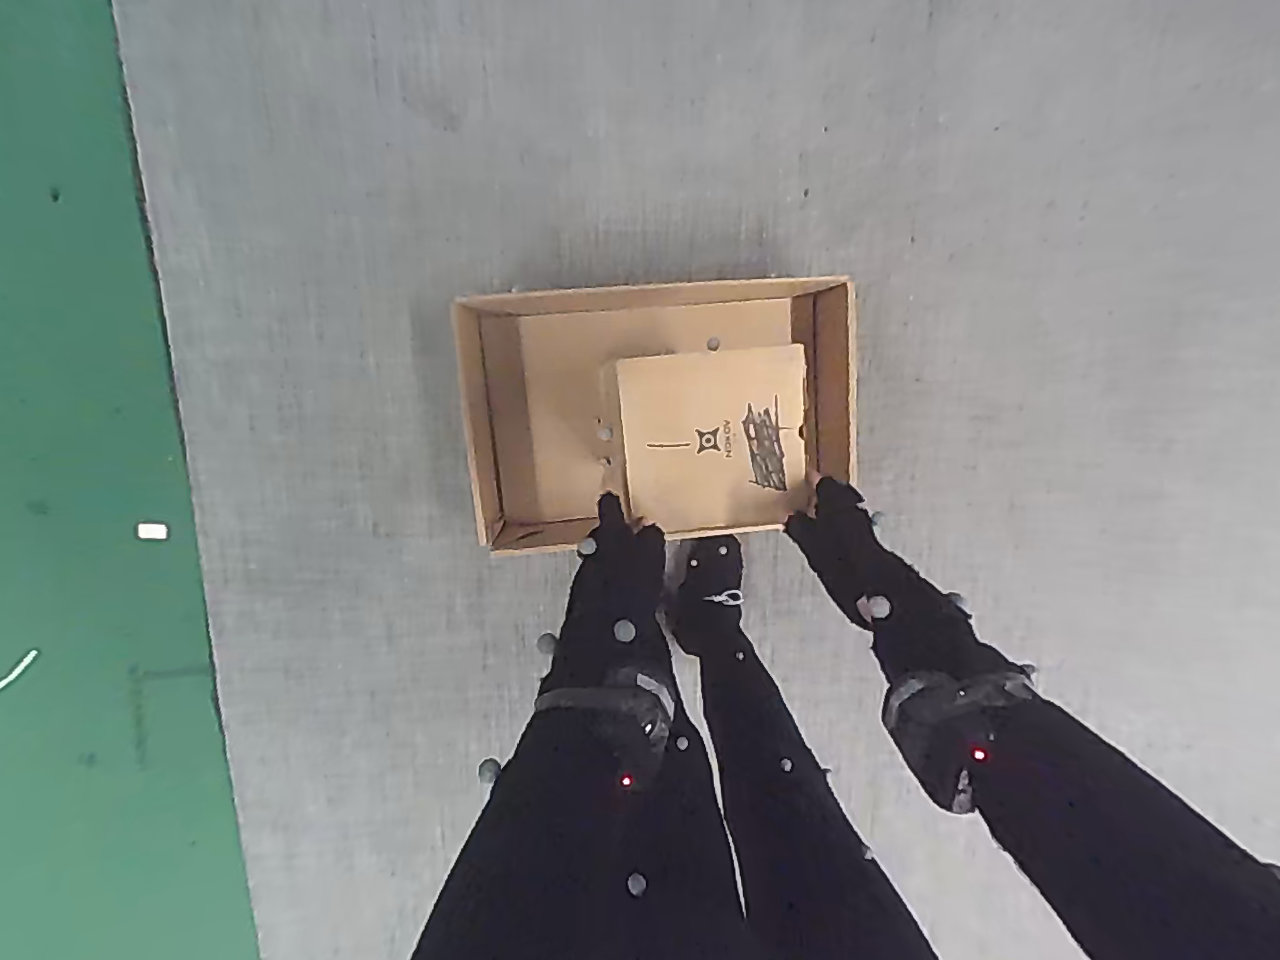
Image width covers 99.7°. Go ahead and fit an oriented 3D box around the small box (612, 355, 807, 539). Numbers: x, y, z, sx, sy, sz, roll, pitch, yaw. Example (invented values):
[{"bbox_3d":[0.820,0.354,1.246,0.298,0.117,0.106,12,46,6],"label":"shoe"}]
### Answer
[{"bbox_3d":[0.065,-0.045,0.589,0.179,0.176,0.168,-6,101,-4],"label":"small box"}]
